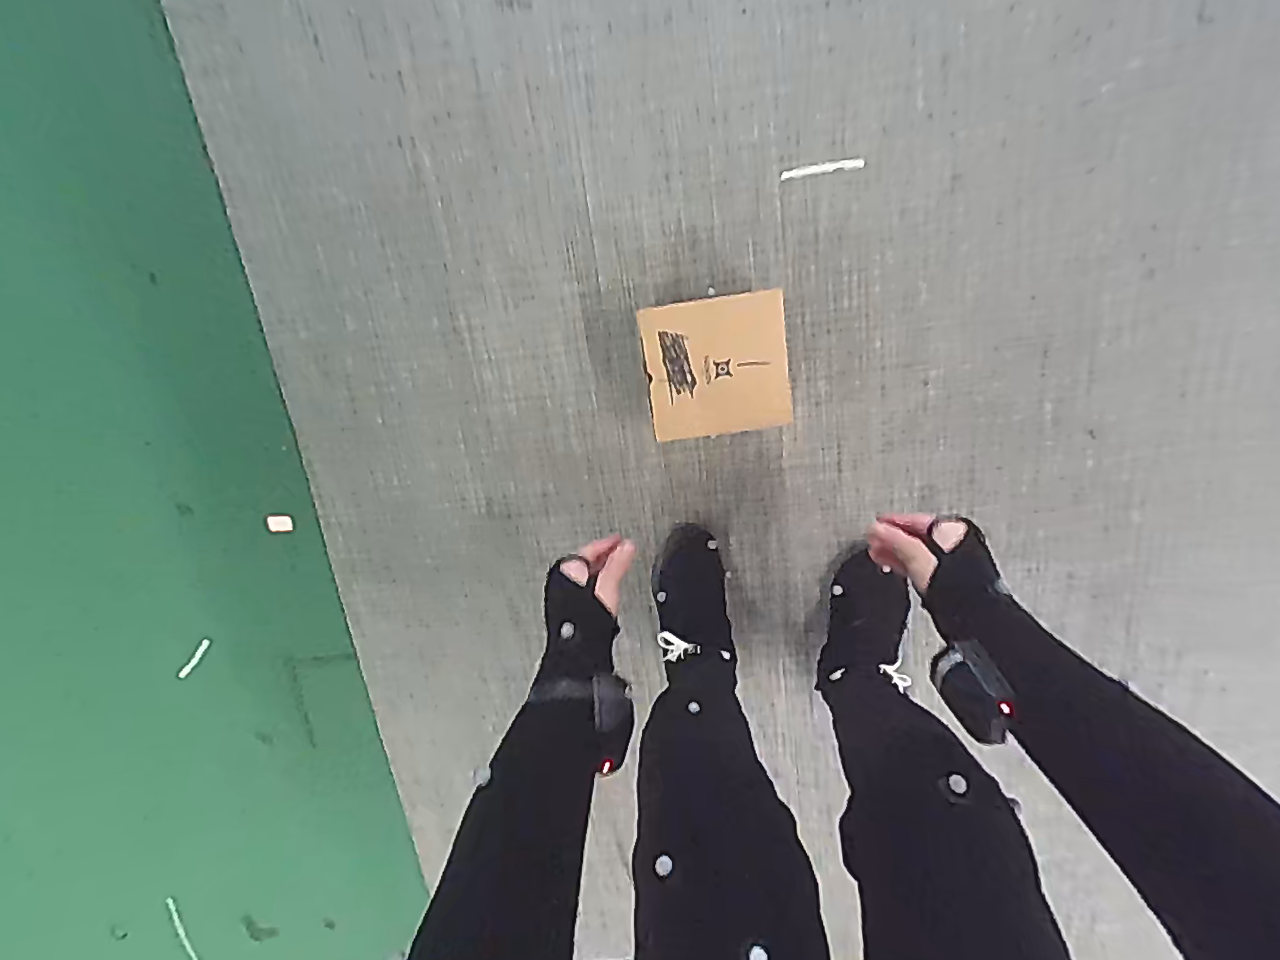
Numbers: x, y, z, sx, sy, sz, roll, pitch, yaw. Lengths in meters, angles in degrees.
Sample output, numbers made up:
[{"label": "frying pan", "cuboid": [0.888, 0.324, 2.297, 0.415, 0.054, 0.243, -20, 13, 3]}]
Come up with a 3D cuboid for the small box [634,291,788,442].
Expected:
[{"label": "small box", "cuboid": [0.096, -0.155, 0.741, 0.179, 0.176, 0.168, -8, 105, 7]}]
